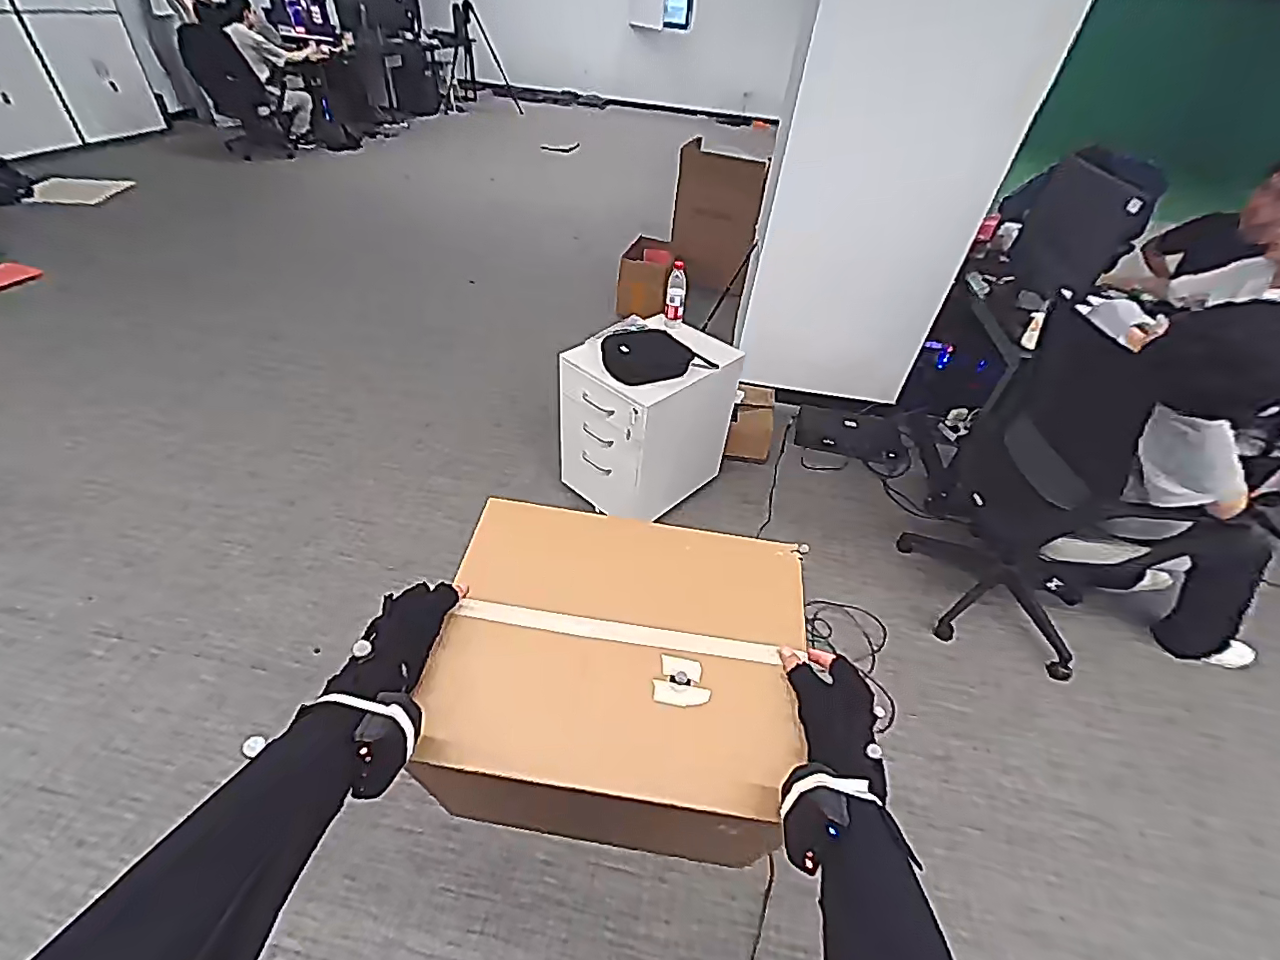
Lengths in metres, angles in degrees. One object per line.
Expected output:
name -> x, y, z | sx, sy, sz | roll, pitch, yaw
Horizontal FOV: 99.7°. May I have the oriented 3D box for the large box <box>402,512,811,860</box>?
large box -> -0.031, 0.278, 0.721 | 0.408, 0.320, 0.320 | 9, 49, 1
